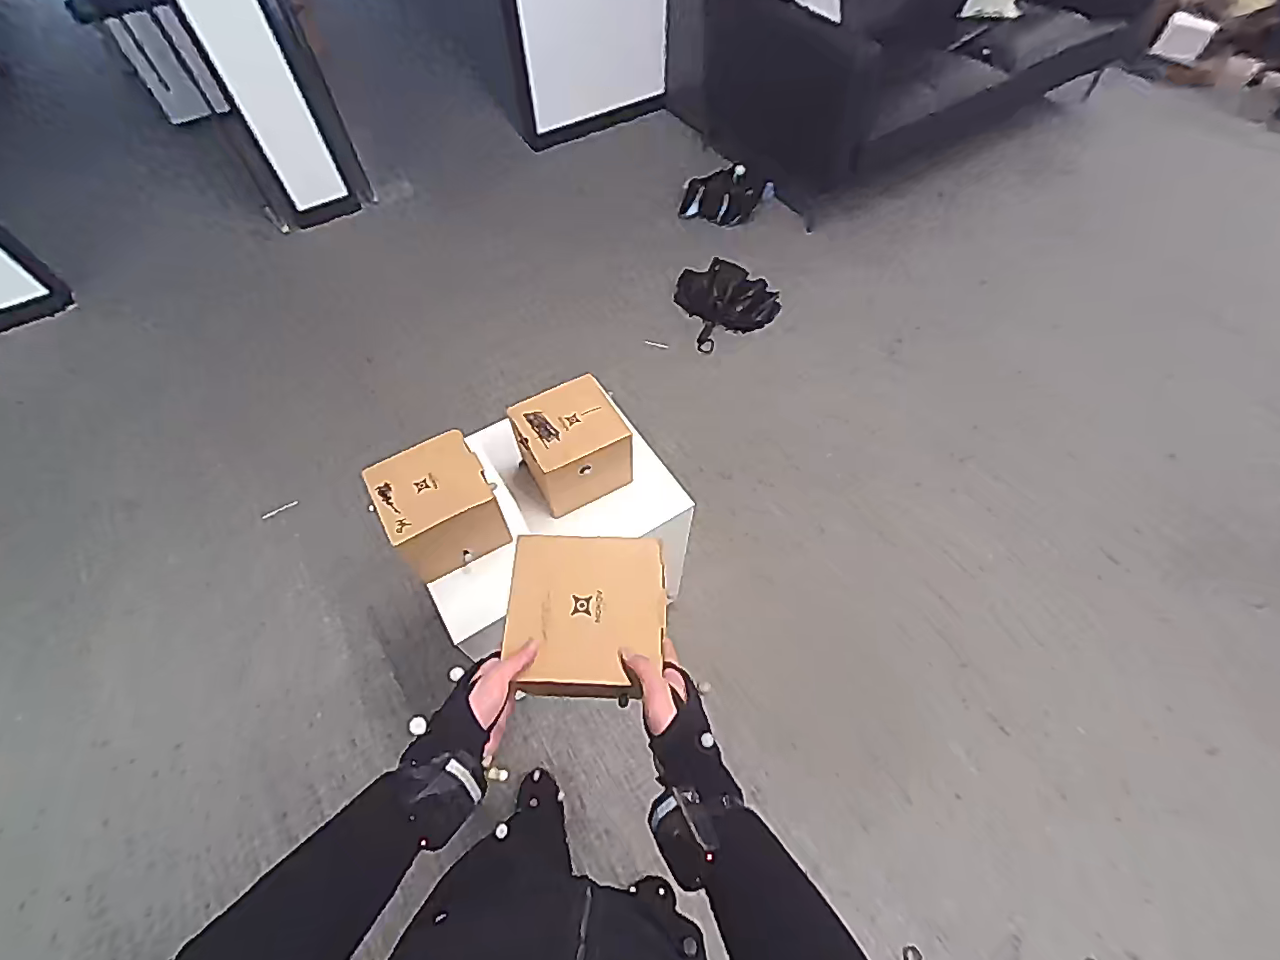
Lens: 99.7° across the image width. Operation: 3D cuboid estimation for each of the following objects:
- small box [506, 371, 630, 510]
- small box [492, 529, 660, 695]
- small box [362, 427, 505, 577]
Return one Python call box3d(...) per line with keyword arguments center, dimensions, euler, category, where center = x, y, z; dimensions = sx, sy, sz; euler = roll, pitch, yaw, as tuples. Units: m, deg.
box3d(center=(-0.129, -0.069, 1.029), dimensions=(0.179, 0.176, 0.168), euler=(-26, 63, -16), category="small box")
box3d(center=(-0.064, 0.167, 0.665), dimensions=(0.179, 0.176, 0.168), euler=(0, 63, 2), category="small box")
box3d(center=(-0.354, 0.043, 0.962), dimensions=(0.179, 0.176, 0.168), euler=(-27, 62, -18), category="small box")
